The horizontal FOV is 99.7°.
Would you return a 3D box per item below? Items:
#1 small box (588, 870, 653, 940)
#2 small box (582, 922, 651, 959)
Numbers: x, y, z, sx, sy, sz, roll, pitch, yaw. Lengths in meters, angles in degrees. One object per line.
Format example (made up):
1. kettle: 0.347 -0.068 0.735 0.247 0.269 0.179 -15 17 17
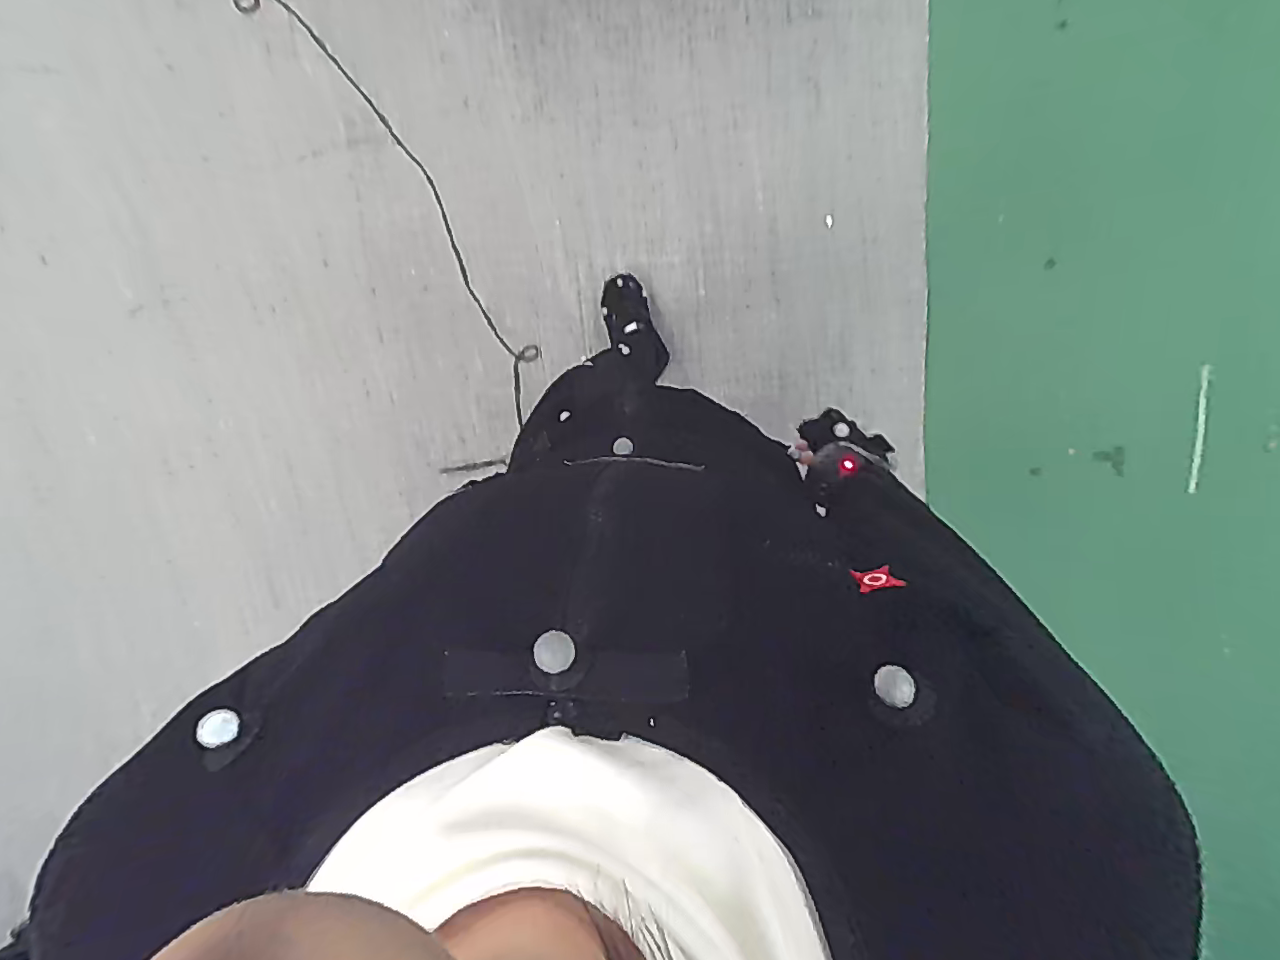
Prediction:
1. small box: -0.055 1.288 1.587 0.179 0.176 0.168 1 103 2
2. small box: -0.063 1.314 1.428 0.179 0.176 0.168 -1 101 3
